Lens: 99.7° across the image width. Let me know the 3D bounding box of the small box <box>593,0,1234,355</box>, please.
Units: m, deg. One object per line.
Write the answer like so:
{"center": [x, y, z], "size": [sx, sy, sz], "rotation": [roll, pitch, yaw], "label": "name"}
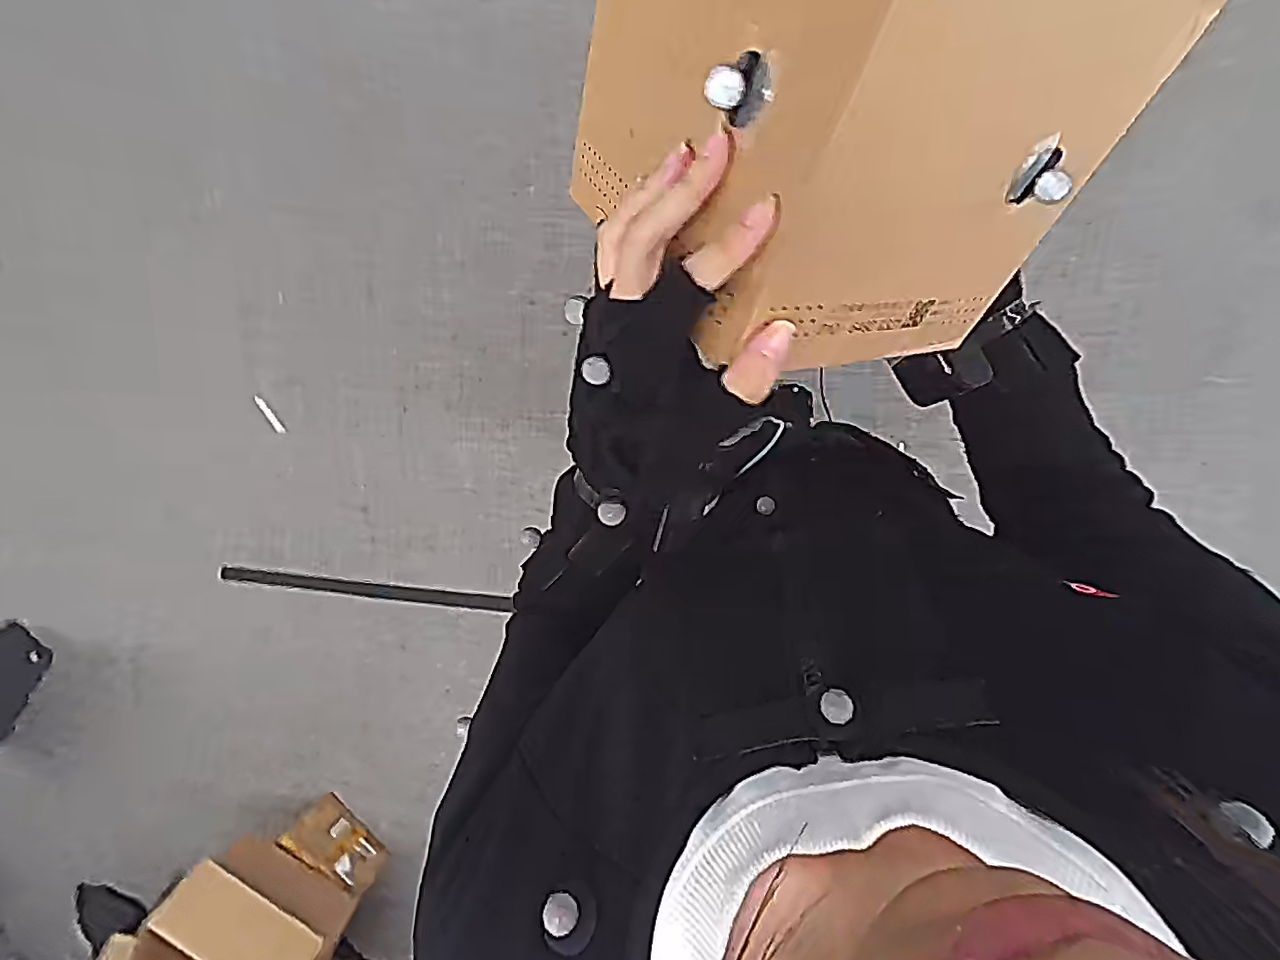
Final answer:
{"center": [0.092, -0.172, 0.254], "size": [0.179, 0.168, 0.176], "rotation": [61, 148, 33], "label": "small box"}
